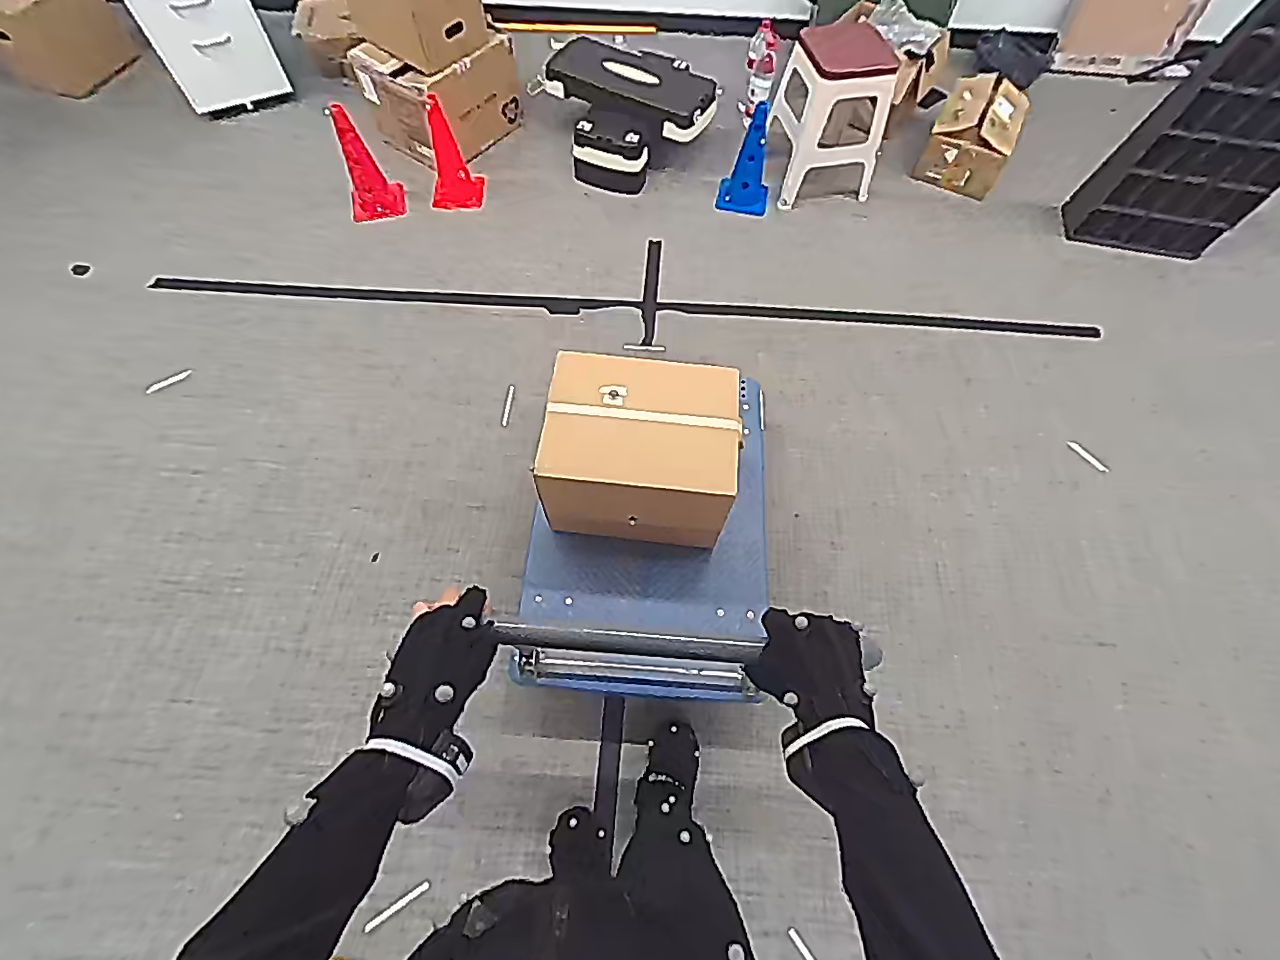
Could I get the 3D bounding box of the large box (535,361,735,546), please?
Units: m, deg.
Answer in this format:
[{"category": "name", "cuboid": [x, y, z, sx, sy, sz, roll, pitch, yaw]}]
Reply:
[{"category": "large box", "cuboid": [0.001, -0.049, 1.270, 0.408, 0.320, 0.320, 6, 64, 2]}]
